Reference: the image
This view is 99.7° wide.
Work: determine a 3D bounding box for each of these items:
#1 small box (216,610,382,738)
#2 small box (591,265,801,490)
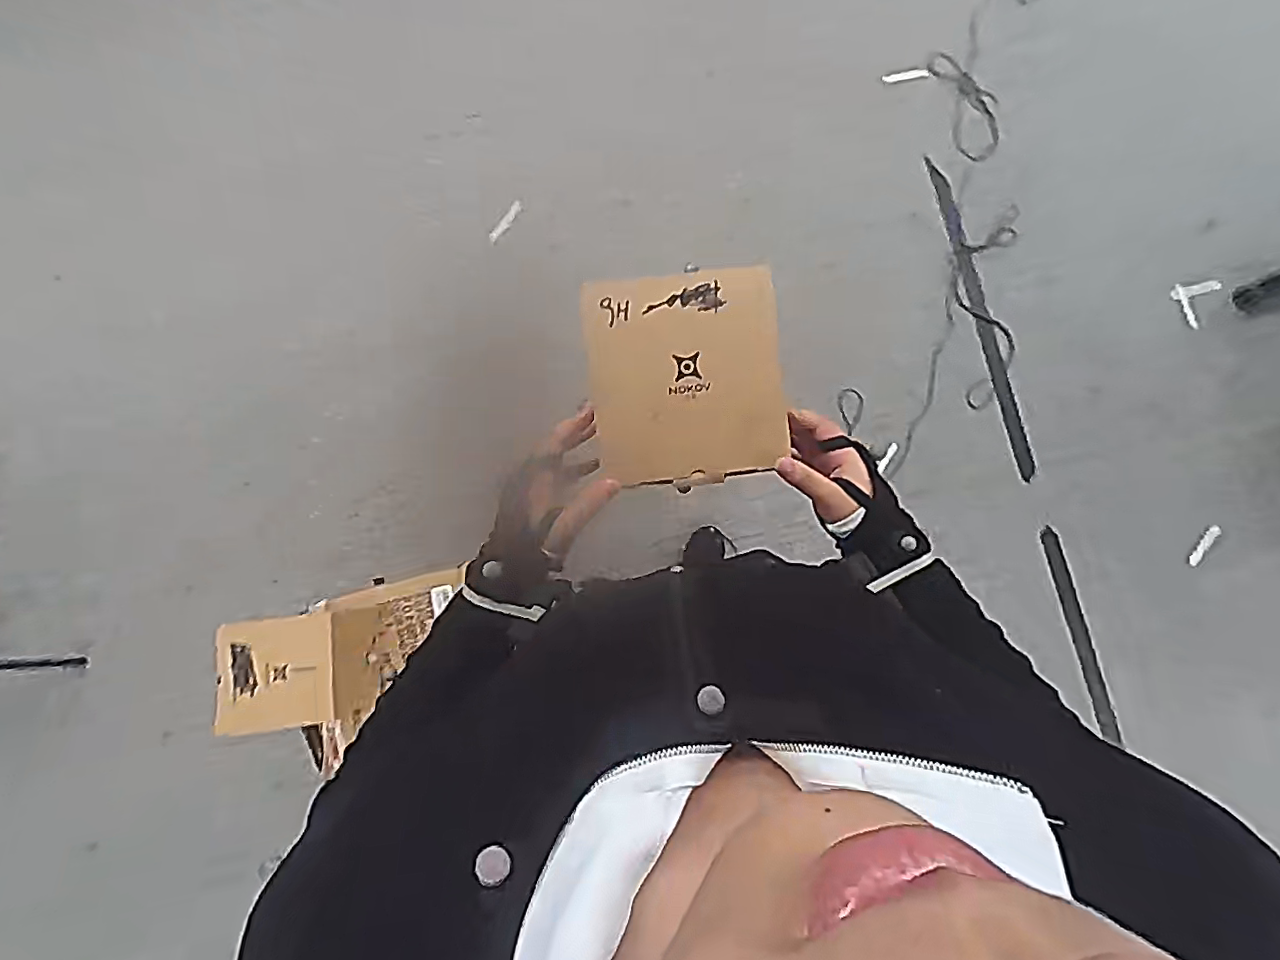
[{"bbox_3d":[-0.556,0.311,0.900,0.179,0.176,0.168,-7,80,-4],"label":"small box"},{"bbox_3d":[0.045,-0.091,0.531,0.168,0.176,0.179,-7,94,-3],"label":"small box"}]
